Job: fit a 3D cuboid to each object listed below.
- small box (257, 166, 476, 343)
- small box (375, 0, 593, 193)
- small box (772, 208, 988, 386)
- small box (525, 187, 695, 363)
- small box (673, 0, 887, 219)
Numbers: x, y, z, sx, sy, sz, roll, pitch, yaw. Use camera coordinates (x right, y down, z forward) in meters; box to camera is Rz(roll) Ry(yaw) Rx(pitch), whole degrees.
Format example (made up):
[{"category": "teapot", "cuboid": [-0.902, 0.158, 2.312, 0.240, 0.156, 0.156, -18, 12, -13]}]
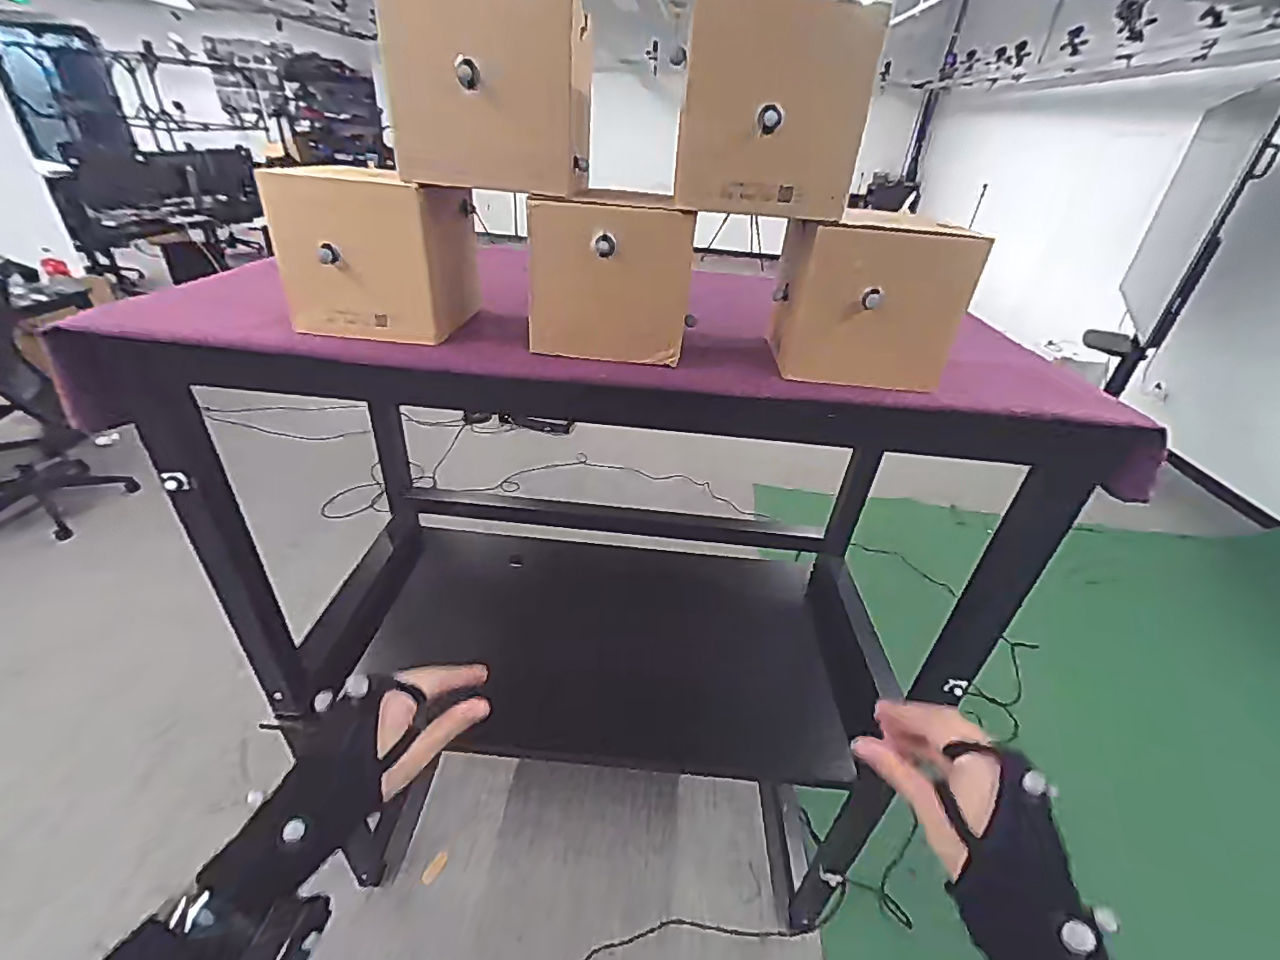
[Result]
[{"category": "small box", "cuboid": [-0.303, -0.273, 0.649, 0.168, 0.176, 0.179, 5, 31, -1]}, {"category": "small box", "cuboid": [-0.147, -0.404, 0.570, 0.179, 0.176, 0.168, 4, 32, -1]}, {"category": "small box", "cuboid": [0.260, -0.220, 0.643, 0.179, 0.176, 0.168, 4, 33, 1]}, {"category": "small box", "cuboid": [-0.030, -0.249, 0.649, 0.179, 0.176, 0.168, 6, 32, 1]}, {"category": "small box", "cuboid": [0.124, -0.373, 0.558, 0.168, 0.176, 0.179, 5, 32, 0]}]
